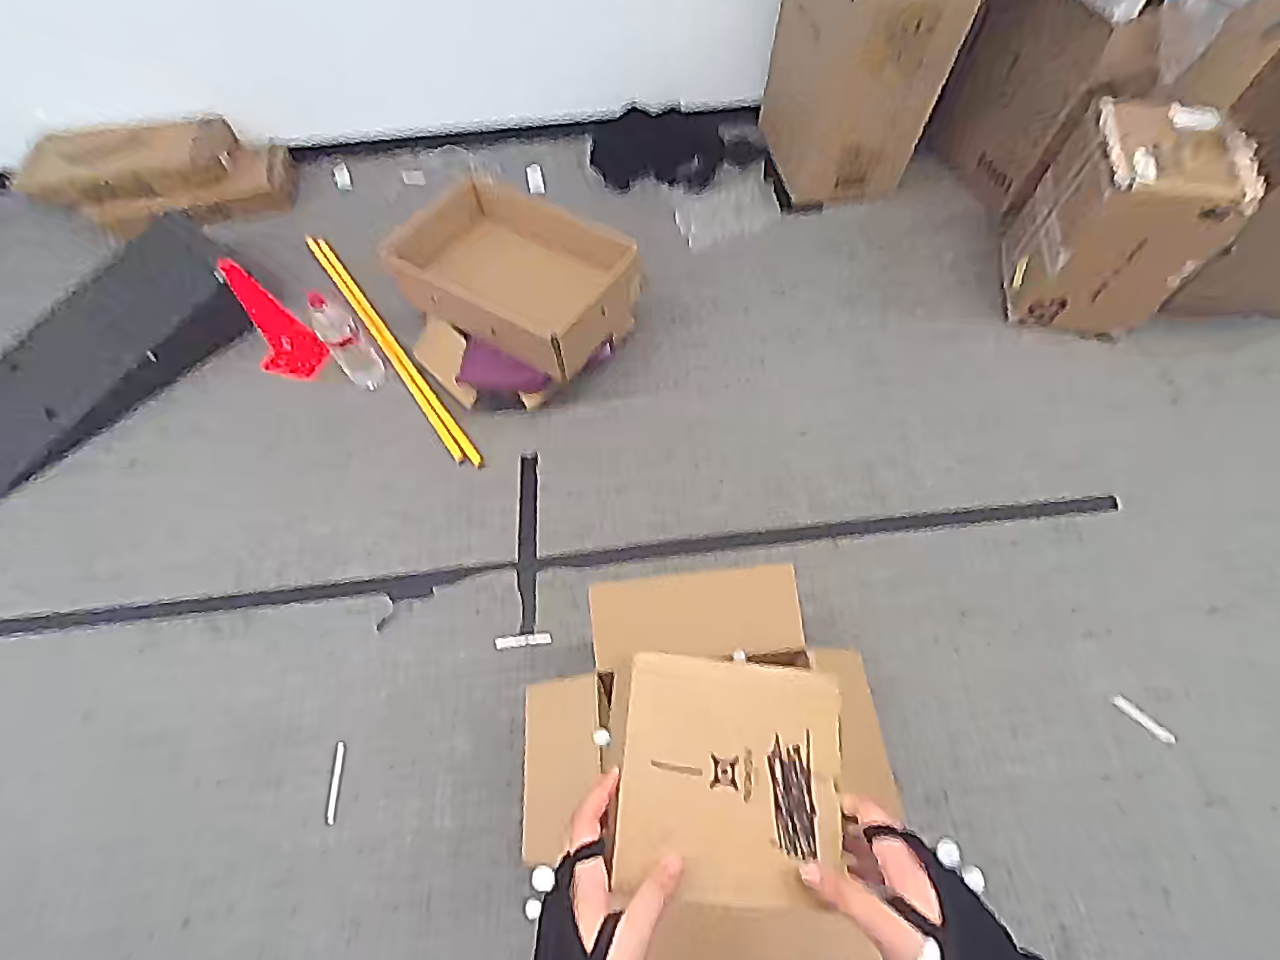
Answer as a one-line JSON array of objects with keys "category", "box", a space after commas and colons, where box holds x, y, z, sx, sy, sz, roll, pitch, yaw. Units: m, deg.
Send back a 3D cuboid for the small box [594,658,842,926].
[{"category": "small box", "box": [0.059, 0.256, 0.481, 0.179, 0.176, 0.168, 9, 69, -3]}]
